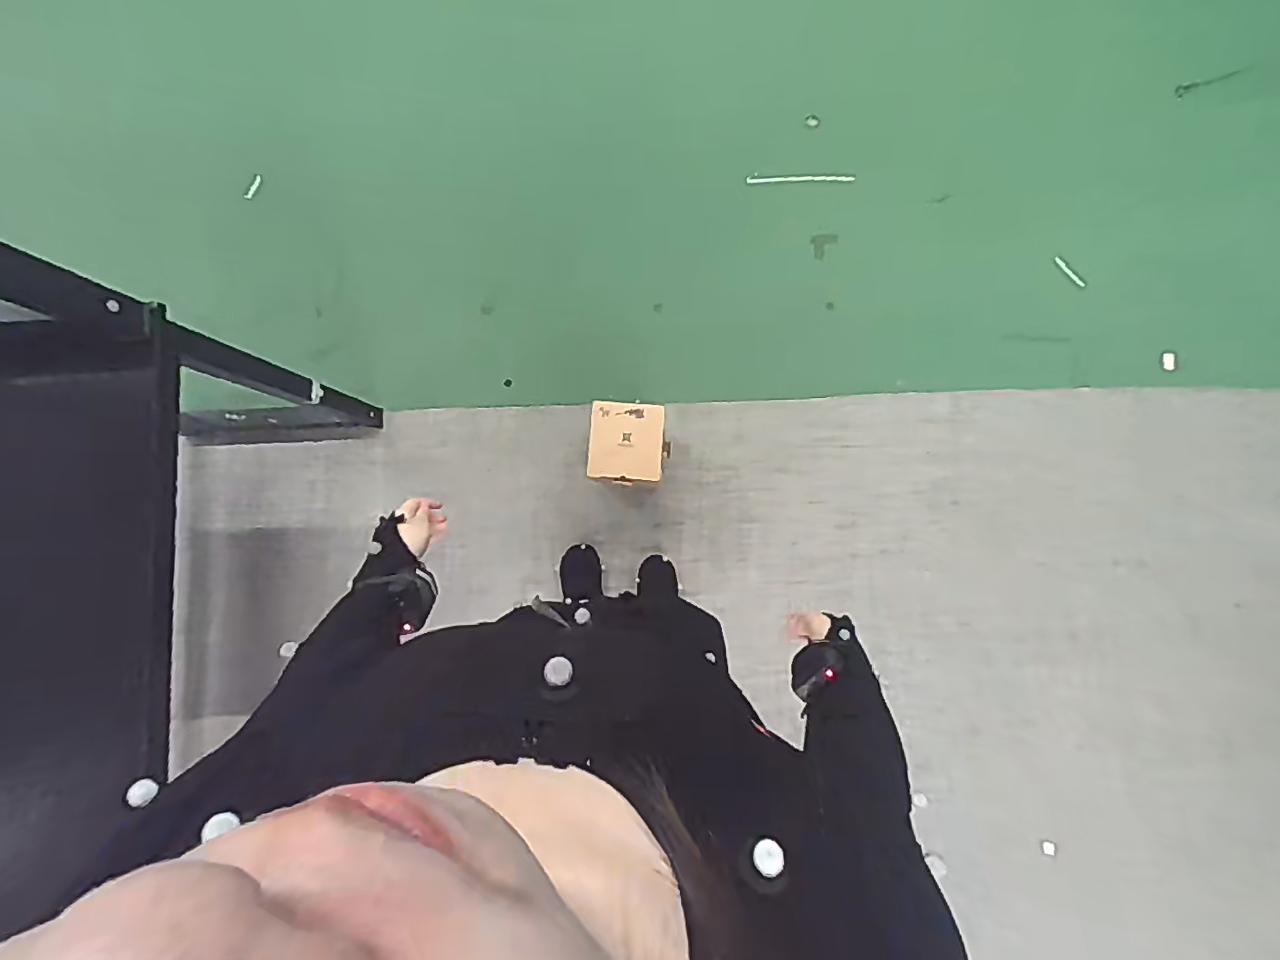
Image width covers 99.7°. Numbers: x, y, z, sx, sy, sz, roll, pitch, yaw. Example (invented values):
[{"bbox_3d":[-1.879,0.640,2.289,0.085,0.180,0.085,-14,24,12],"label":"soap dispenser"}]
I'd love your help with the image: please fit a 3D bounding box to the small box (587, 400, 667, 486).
[{"bbox_3d":[-0.025,-0.080,1.270,0.168,0.176,0.179,5,86,2],"label":"small box"}]
